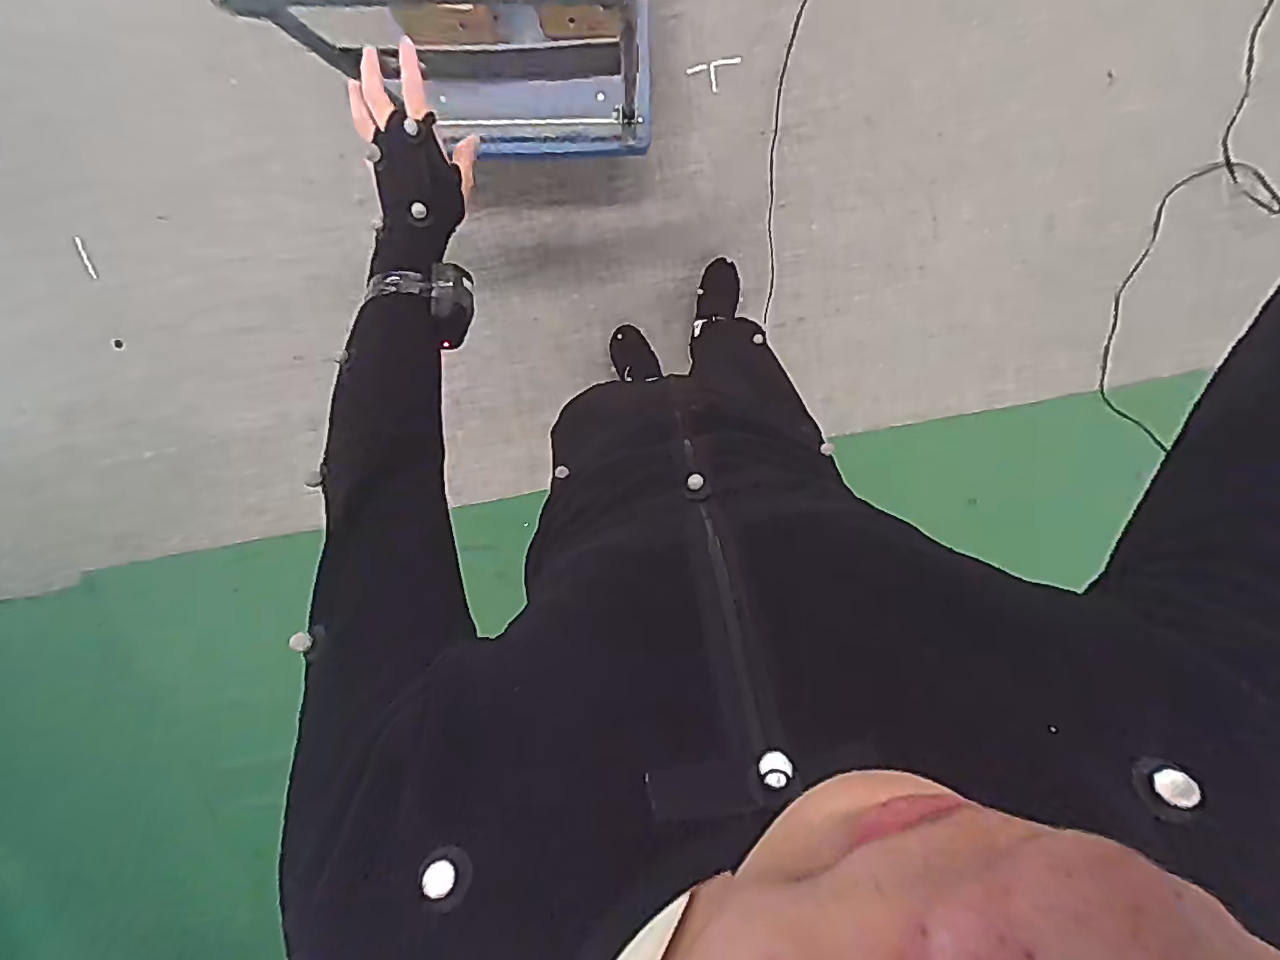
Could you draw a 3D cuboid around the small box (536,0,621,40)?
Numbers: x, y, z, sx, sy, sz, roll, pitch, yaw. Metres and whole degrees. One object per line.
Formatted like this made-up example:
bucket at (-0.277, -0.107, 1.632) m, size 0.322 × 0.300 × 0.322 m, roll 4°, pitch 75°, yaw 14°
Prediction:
small box at (-0.121, -1.008, 1.060) m, size 0.168 × 0.176 × 0.179 m, roll 1°, pitch 108°, yaw 0°
